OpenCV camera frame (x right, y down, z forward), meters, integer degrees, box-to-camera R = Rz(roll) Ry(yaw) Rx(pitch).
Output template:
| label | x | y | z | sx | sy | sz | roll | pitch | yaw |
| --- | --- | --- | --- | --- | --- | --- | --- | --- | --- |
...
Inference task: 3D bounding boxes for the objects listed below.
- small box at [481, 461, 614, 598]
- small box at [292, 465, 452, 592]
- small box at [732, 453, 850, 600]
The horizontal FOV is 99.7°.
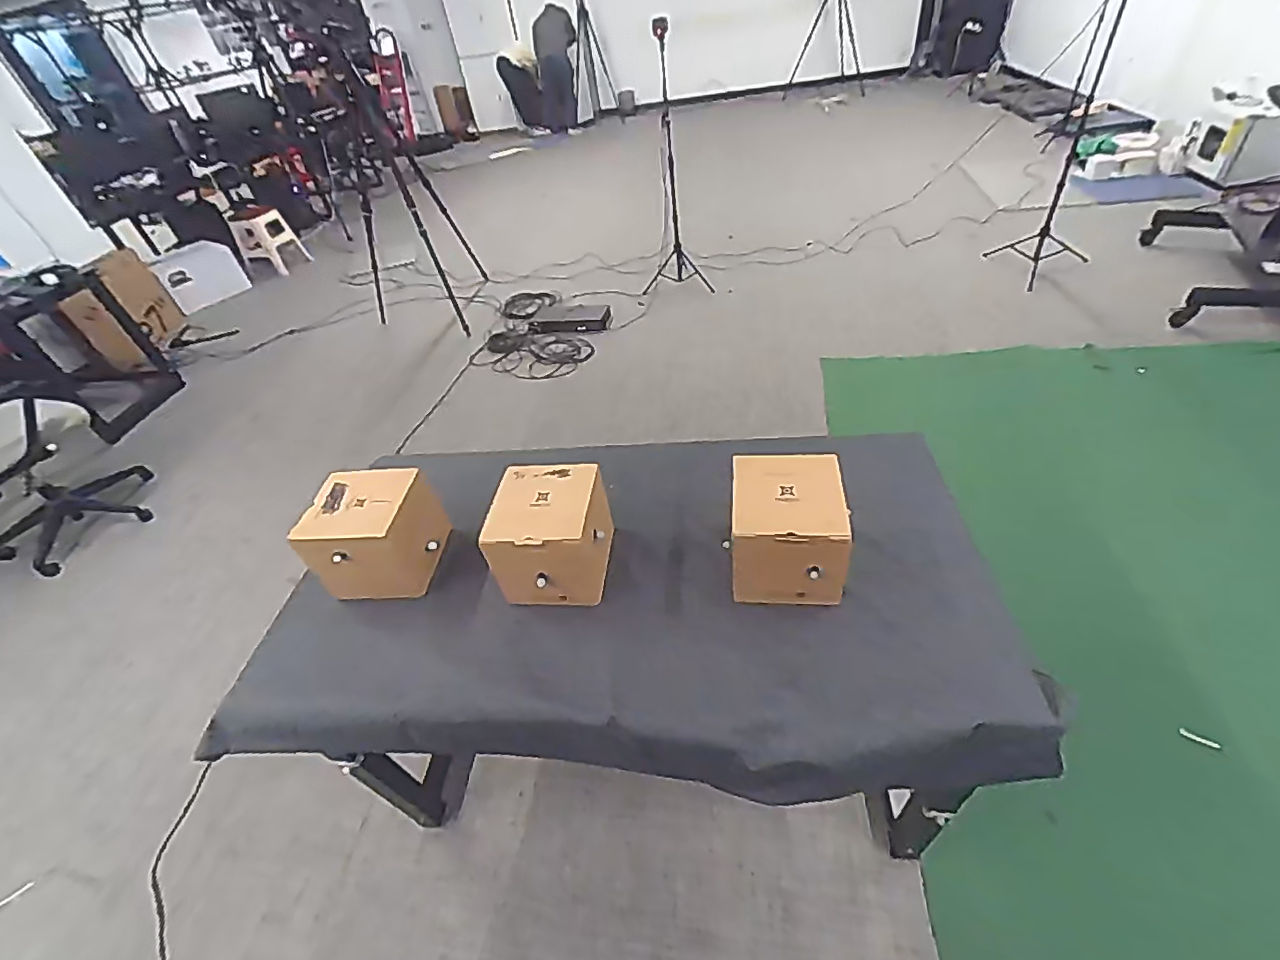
| label | x | y | z | sx | sy | sz | roll | pitch | yaw |
| --- | --- | --- | --- | --- | --- | --- | --- | --- | --- |
| small box | -0.145 | 0.088 | 0.929 | 0.168 | 0.176 | 0.179 | -1 | 44 | 9 |
| small box | -0.472 | 0.091 | 0.984 | 0.179 | 0.176 | 0.168 | -2 | 44 | 7 |
| small box | 0.233 | 0.076 | 0.873 | 0.168 | 0.176 | 0.179 | 0 | 42 | 10 |
